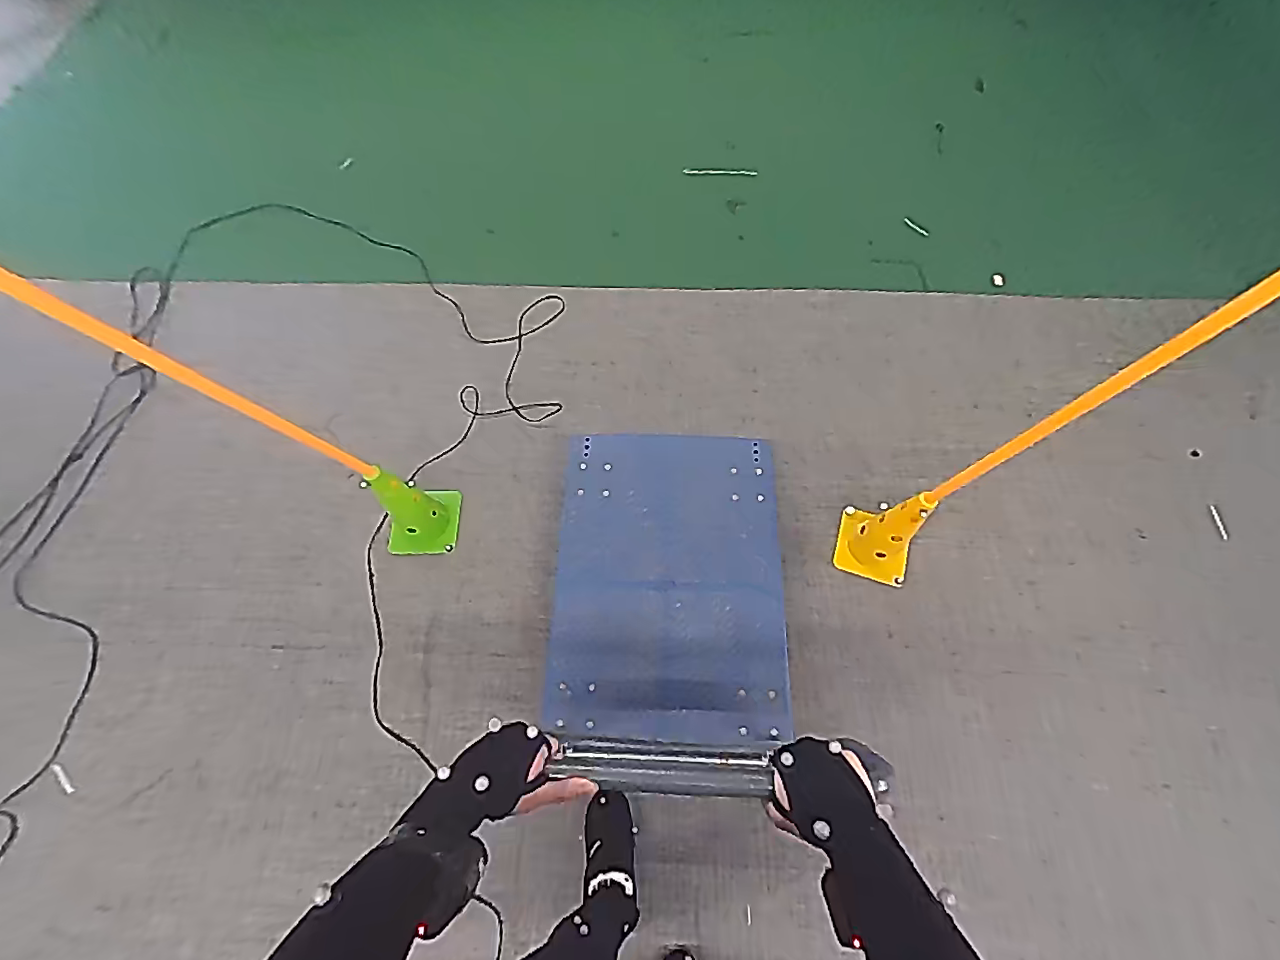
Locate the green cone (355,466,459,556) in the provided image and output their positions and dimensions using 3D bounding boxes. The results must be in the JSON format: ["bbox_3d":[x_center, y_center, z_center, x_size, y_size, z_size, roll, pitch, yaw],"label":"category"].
[{"bbox_3d":[-0.655,0.055,1.463,0.202,0.368,0.200,-3,65,2],"label":"green cone"}]
